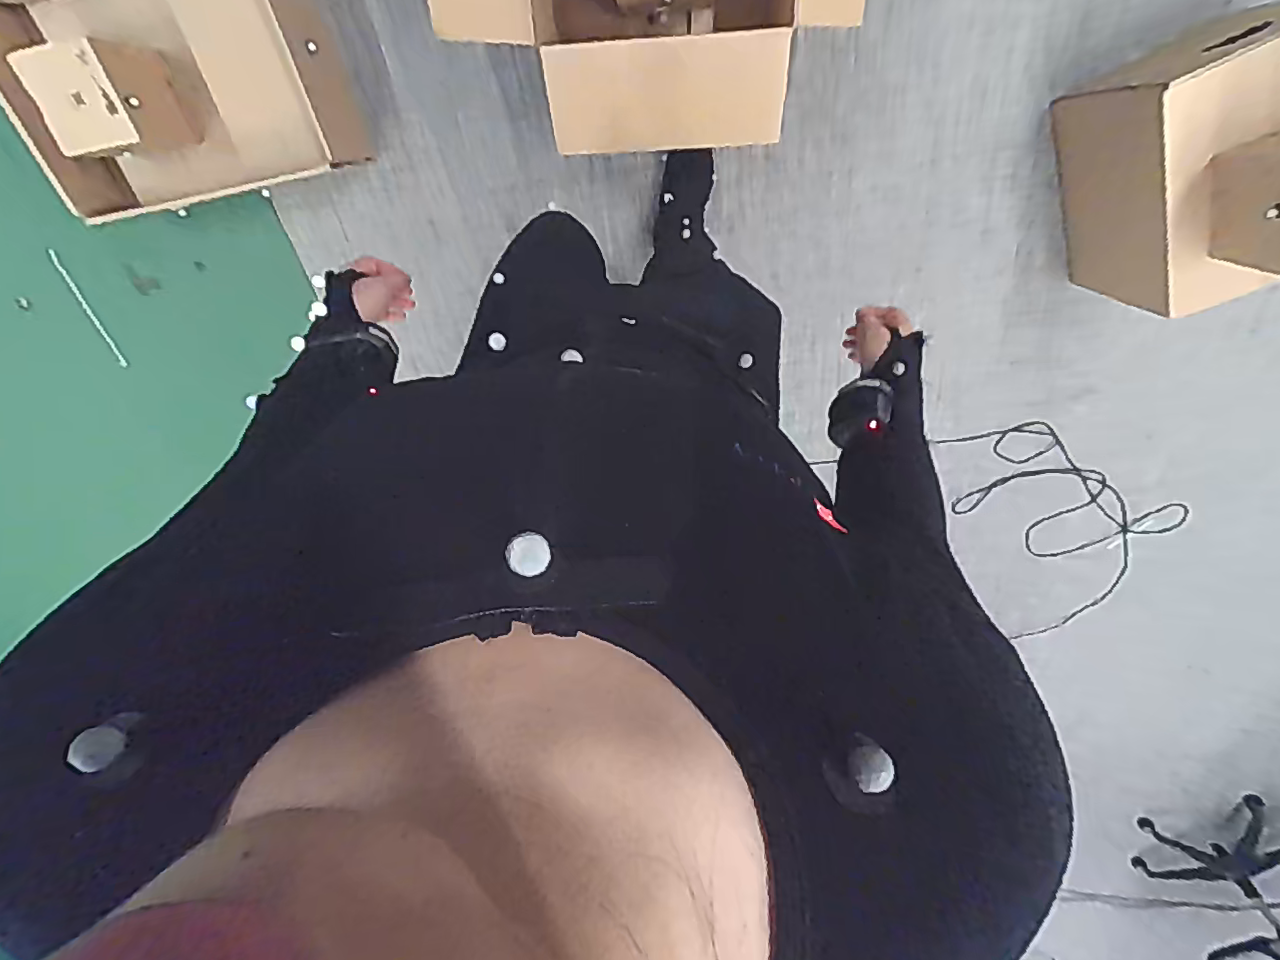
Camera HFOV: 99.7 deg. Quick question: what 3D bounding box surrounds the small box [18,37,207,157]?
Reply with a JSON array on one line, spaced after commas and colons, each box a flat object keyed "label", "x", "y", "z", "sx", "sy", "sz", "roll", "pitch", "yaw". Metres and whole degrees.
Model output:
[{"label": "small box", "x": -1.045, "y": -0.759, "z": 1.091, "sx": 0.179, "sy": 0.176, "sz": 0.168, "roll": -6, "pitch": 120, "yaw": 8}]

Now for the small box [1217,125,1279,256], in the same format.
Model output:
[{"label": "small box", "x": 1.027, "y": -0.450, "z": 0.808, "sx": 0.168, "sy": 0.176, "sz": 0.179, "roll": -20, "pitch": 118, "yaw": 18}]
